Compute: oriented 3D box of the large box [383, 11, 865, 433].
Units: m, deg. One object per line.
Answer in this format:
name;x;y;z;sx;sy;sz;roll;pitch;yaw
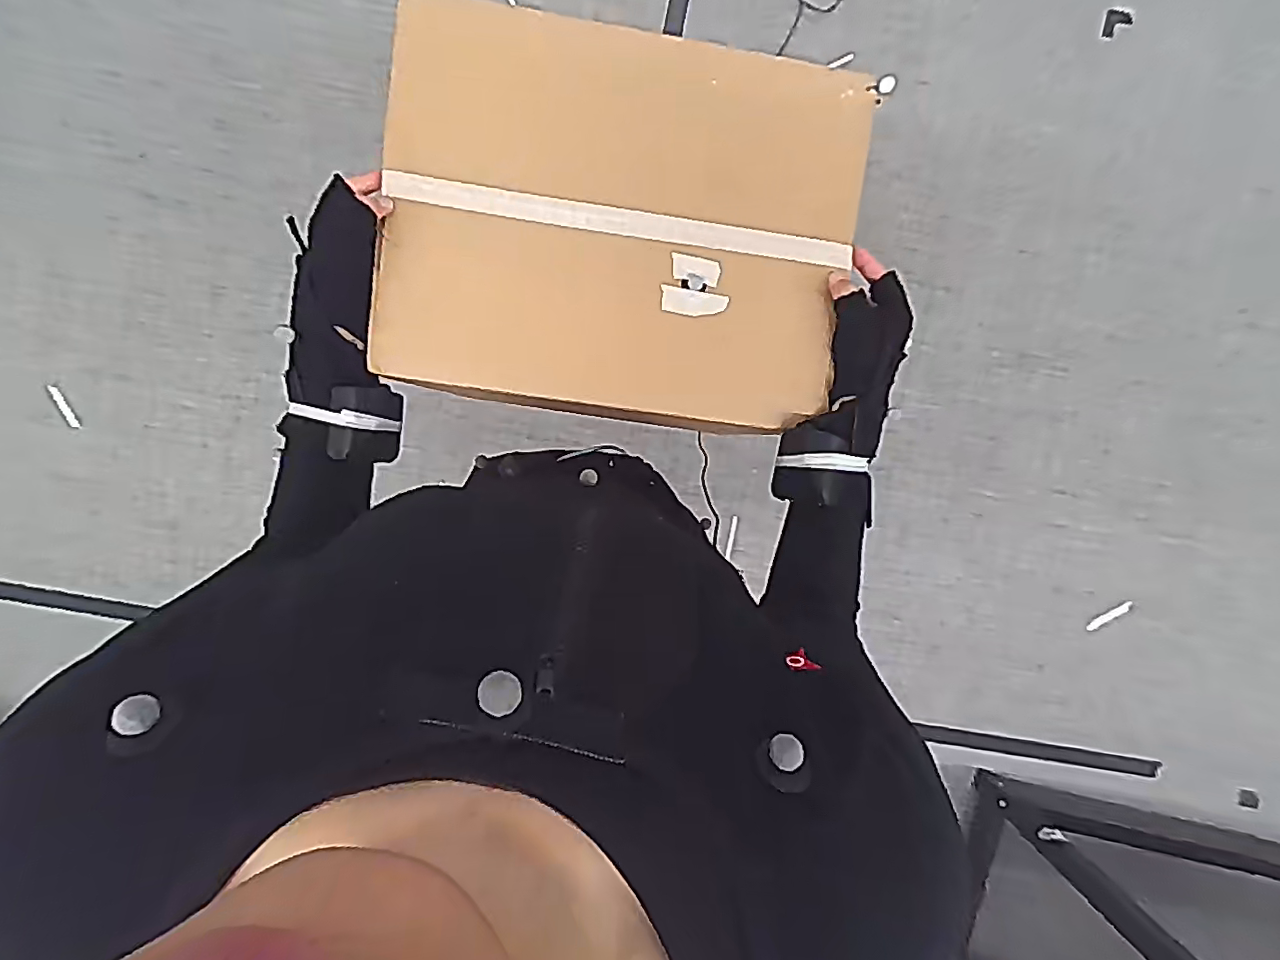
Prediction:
large box;-0.026;-0.230;0.624;0.408;0.320;0.320;7;96;-6
